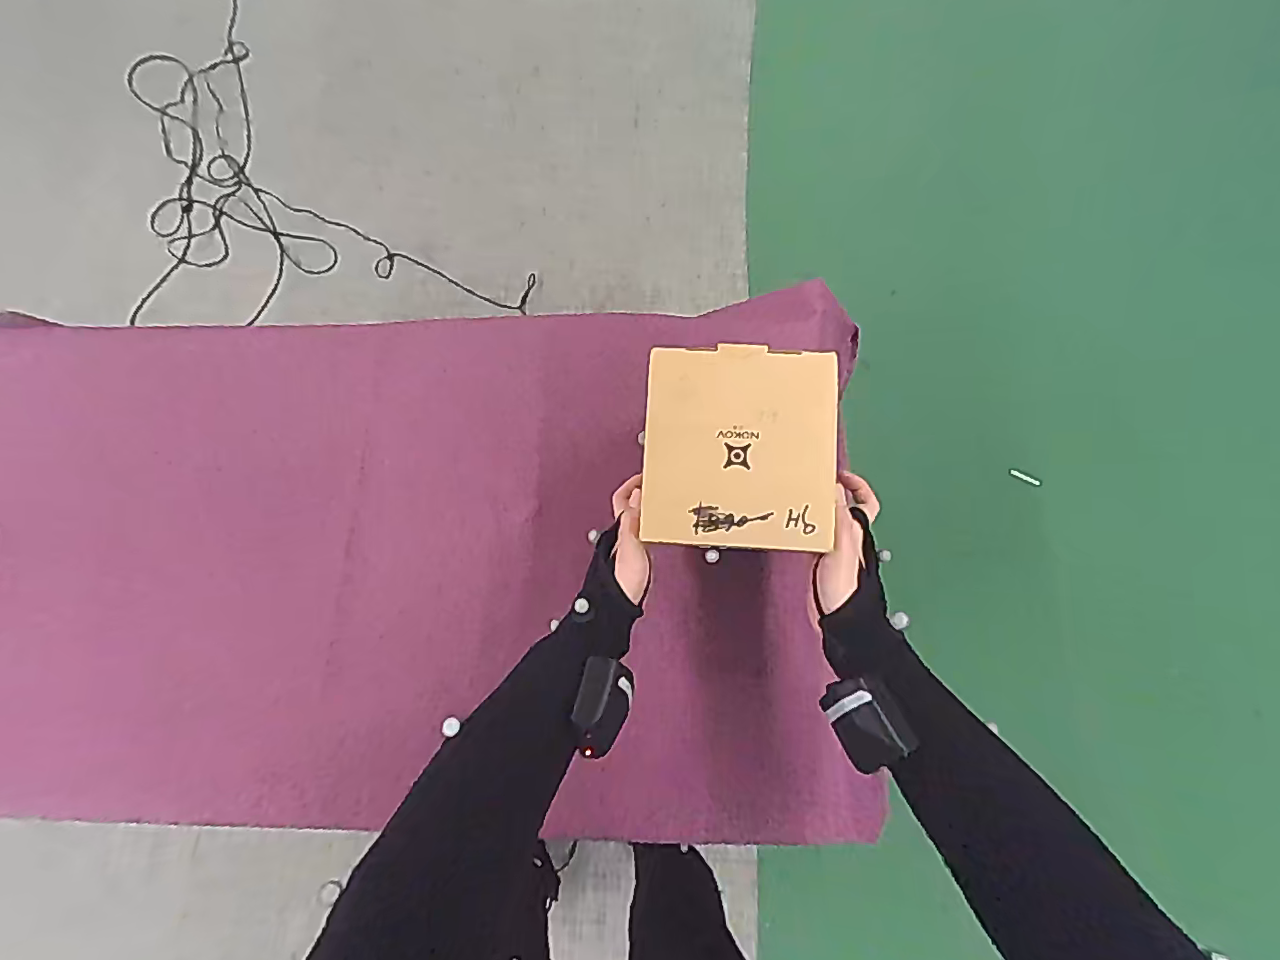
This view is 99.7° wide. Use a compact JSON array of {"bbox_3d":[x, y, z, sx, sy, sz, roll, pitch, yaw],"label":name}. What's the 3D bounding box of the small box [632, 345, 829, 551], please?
[{"bbox_3d":[0.086,-0.022,0.548,0.168,0.176,0.179,2,83,6],"label":"small box"}]
